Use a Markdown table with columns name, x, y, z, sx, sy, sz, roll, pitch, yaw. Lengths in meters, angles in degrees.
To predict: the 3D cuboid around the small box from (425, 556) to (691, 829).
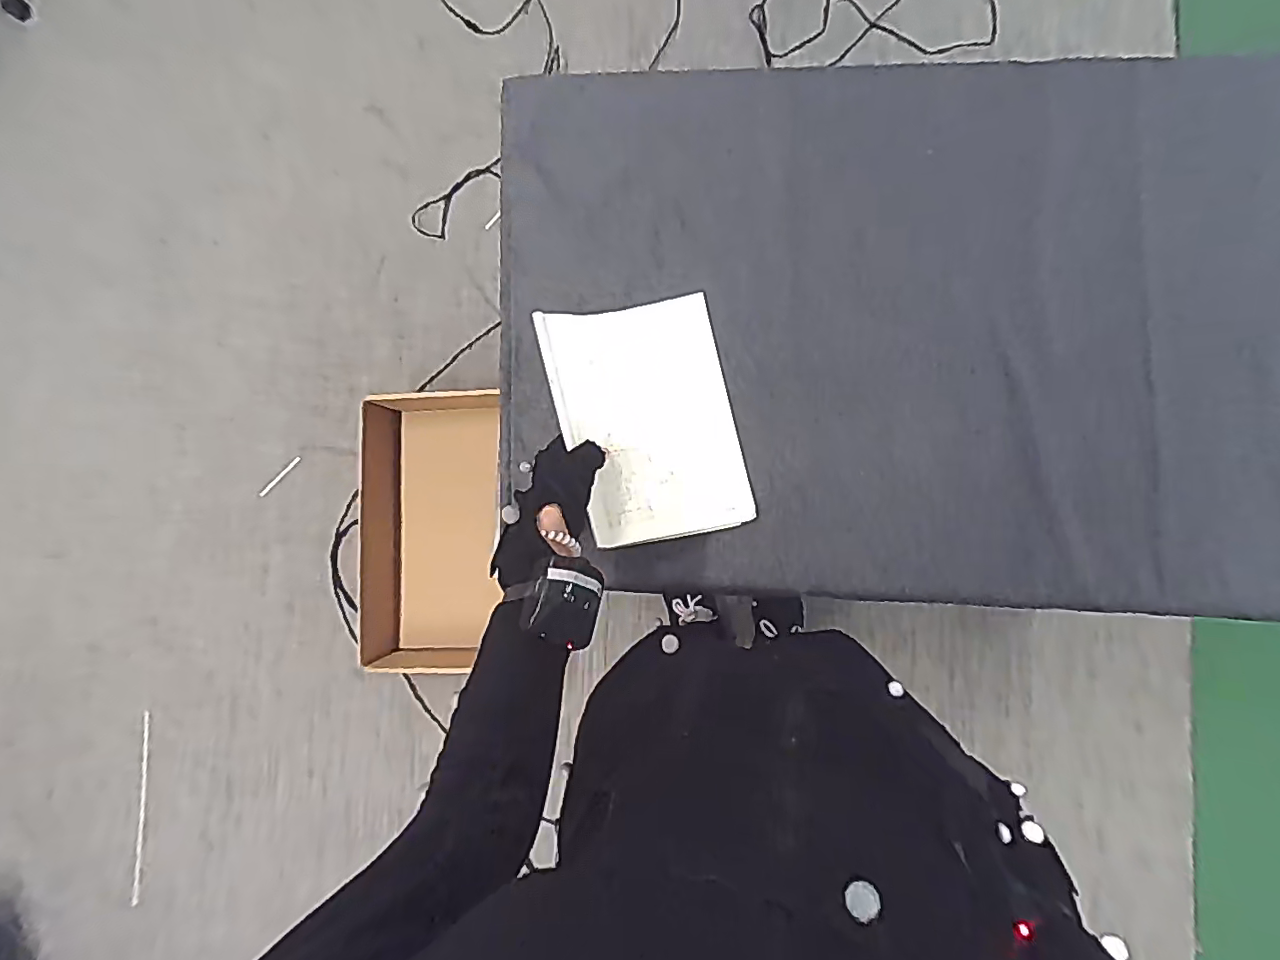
| name | x | y | z | sx | sy | sz | roll | pitch | yaw |
| --- | --- | --- | --- | --- | --- | --- | --- | --- | --- |
| small box | -0.079 | 0.160 | 0.464 | 0.179 | 0.176 | 0.168 | -4 | 88 | -26 |
